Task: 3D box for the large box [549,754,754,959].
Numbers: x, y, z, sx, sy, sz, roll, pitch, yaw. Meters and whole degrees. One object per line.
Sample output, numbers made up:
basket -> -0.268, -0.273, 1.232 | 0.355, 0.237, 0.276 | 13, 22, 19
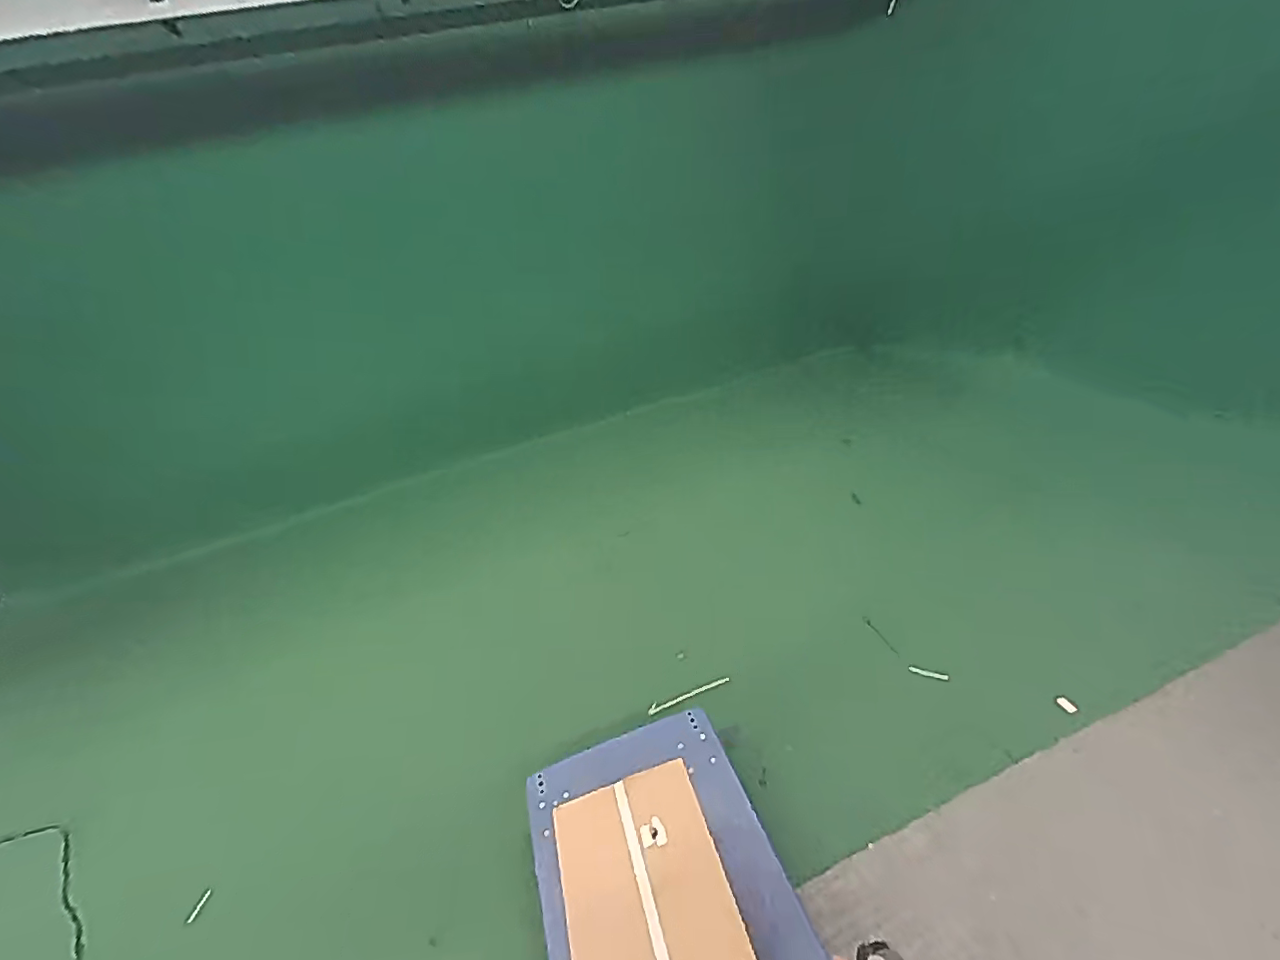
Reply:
large box -> 0.024, 0.888, 1.128 | 0.320, 0.320, 0.408 | -17, 31, -8
